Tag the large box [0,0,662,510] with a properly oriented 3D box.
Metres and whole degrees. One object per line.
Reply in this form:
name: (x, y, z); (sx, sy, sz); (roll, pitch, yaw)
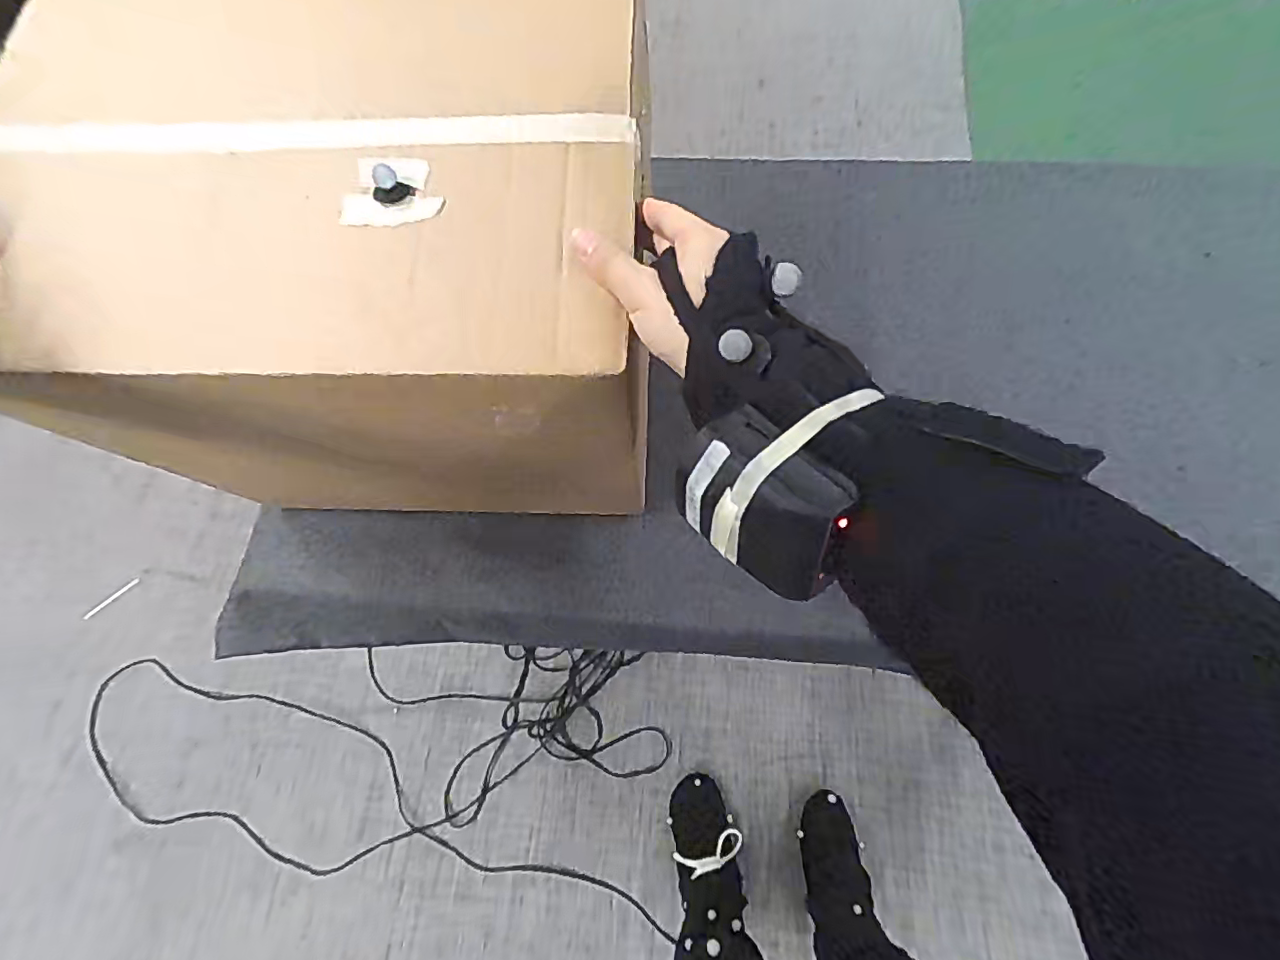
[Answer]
large box: (-0.188, -0.159, 0.477); (0.408, 0.320, 0.320); (1, 74, 1)
